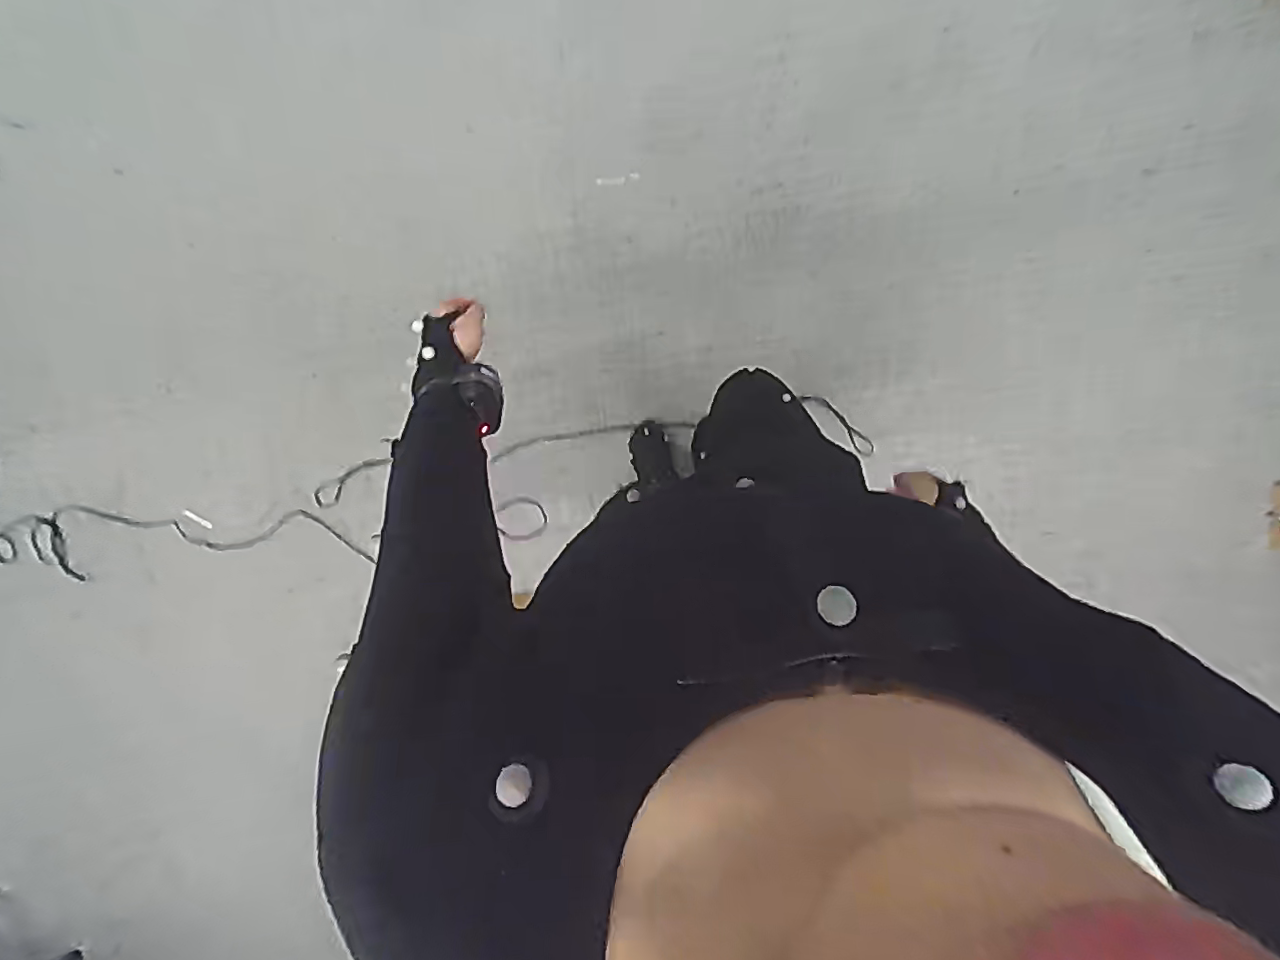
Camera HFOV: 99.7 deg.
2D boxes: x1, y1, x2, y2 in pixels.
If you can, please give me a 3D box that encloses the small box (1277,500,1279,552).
[{"bbox_3d":[1.719,0.114,1.302,0.179,0.176,0.168,-9,97,7],"label":"small box"}]
